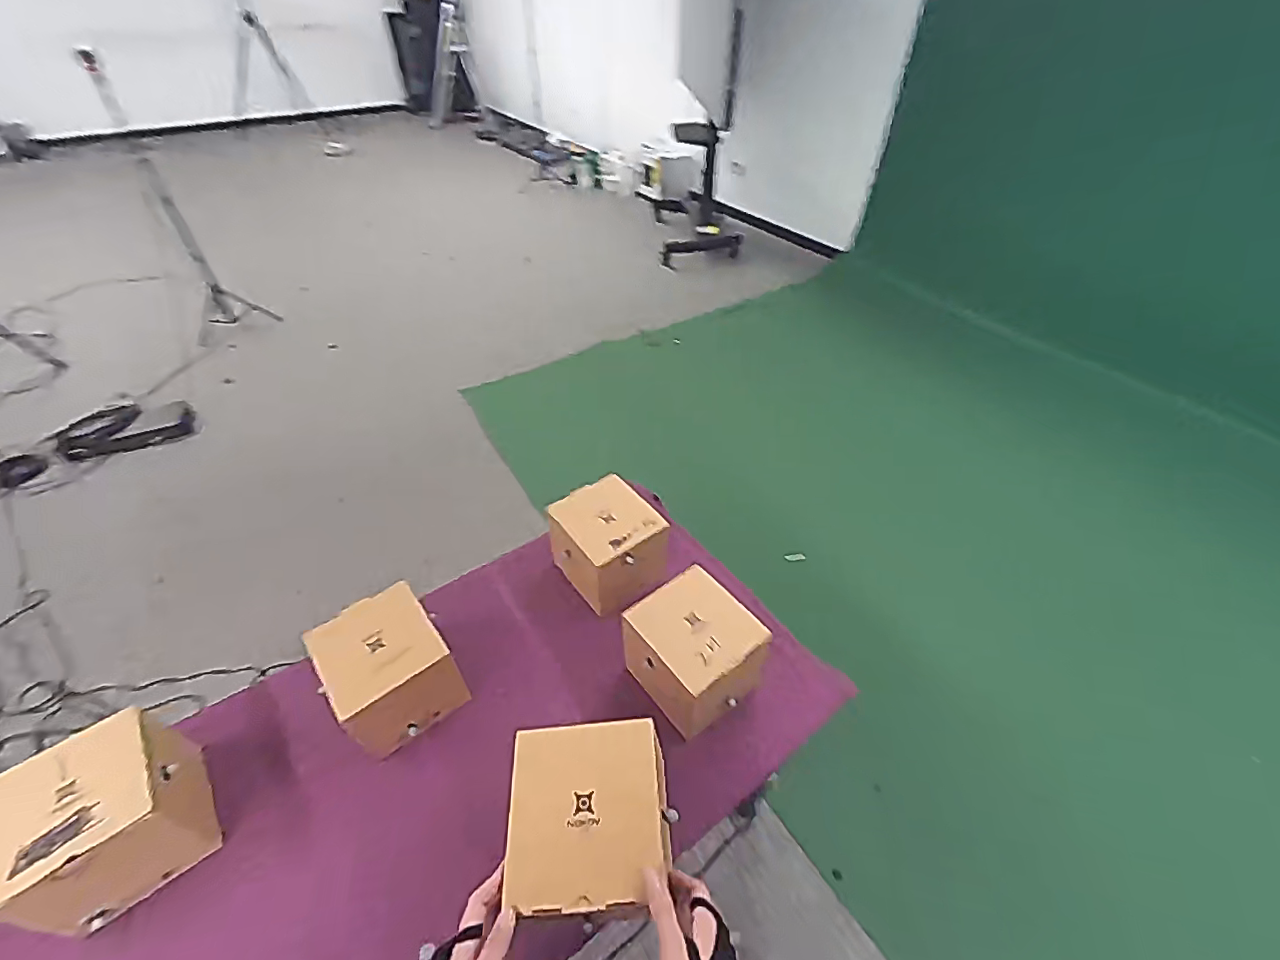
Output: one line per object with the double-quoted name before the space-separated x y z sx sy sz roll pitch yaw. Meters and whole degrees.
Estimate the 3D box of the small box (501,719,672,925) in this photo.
"small box" -0.052 0.403 0.637 0.168 0.176 0.179 -5 48 2

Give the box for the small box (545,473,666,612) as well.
"small box" -0.068 0.123 1.069 0.168 0.176 0.179 -28 51 -26

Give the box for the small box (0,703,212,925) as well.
"small box" -0.711 0.443 0.716 0.168 0.176 0.179 -29 51 -29

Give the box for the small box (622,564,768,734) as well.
"small box" 0.083 0.281 0.903 0.168 0.176 0.179 -28 50 -26

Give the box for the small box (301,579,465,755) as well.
"small box" -0.408 0.302 0.876 0.168 0.176 0.179 -30 52 -27
